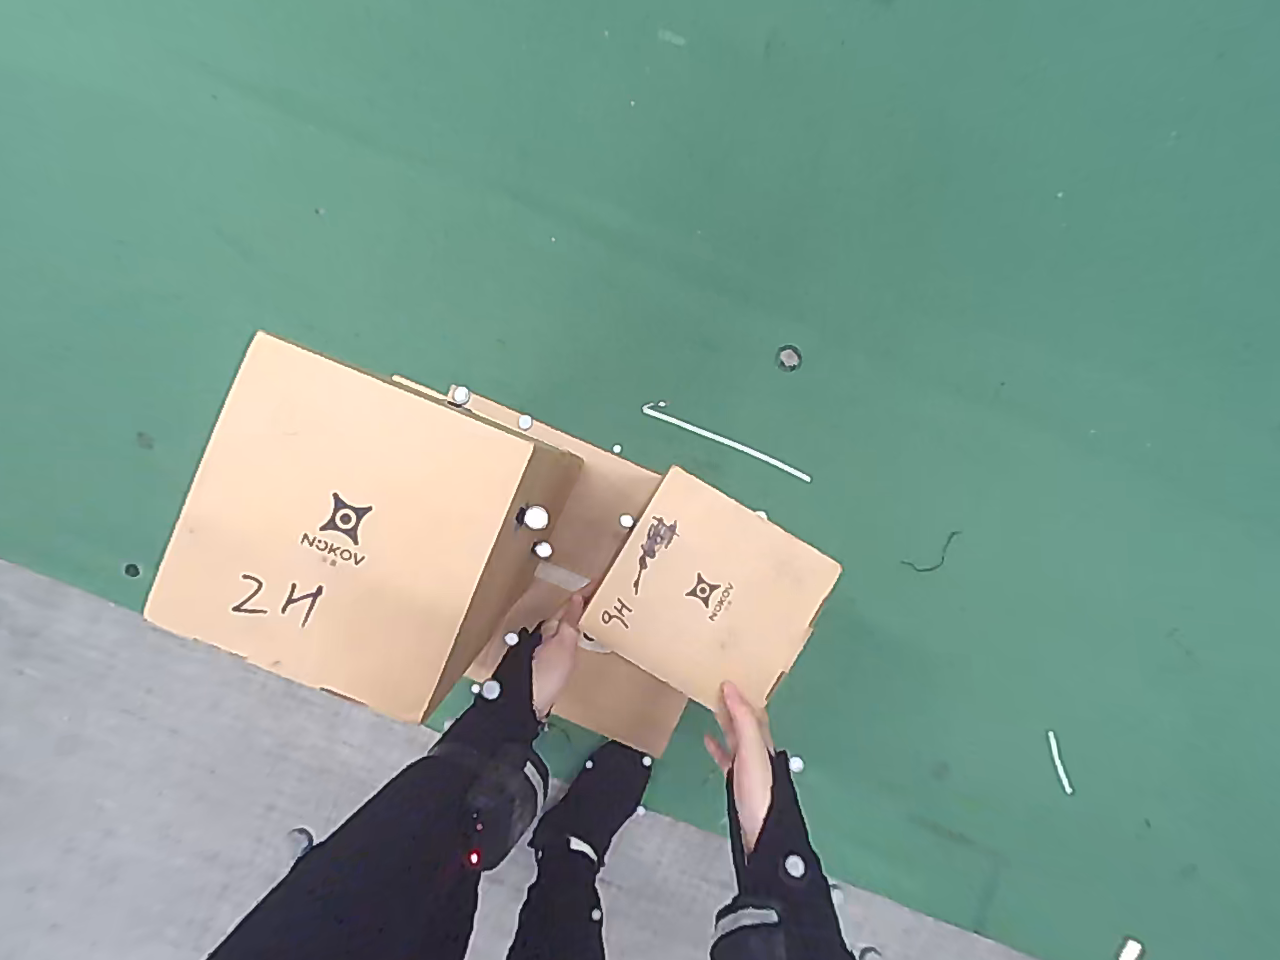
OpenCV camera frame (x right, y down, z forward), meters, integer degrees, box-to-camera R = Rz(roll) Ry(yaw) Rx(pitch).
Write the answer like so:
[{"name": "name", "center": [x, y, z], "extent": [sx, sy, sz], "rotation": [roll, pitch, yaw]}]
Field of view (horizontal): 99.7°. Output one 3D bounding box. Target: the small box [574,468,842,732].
[{"name": "small box", "center": [0.058, 0.103, 0.537], "extent": [0.179, 0.176, 0.168], "rotation": [31, 87, 1]}]

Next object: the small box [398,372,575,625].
[{"name": "small box", "center": [-0.173, 0.019, 0.540], "extent": [0.168, 0.176, 0.179], "rotation": [24, 89, -2]}]

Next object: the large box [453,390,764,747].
[{"name": "large box", "center": [-0.097, 0.104, 0.784], "extent": [0.408, 0.320, 0.320], "rotation": [23, 91, -2]}]

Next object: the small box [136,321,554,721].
[{"name": "small box", "center": [-0.168, 0.023, 0.375], "extent": [0.168, 0.176, 0.179], "rotation": [23, 90, -1]}]
